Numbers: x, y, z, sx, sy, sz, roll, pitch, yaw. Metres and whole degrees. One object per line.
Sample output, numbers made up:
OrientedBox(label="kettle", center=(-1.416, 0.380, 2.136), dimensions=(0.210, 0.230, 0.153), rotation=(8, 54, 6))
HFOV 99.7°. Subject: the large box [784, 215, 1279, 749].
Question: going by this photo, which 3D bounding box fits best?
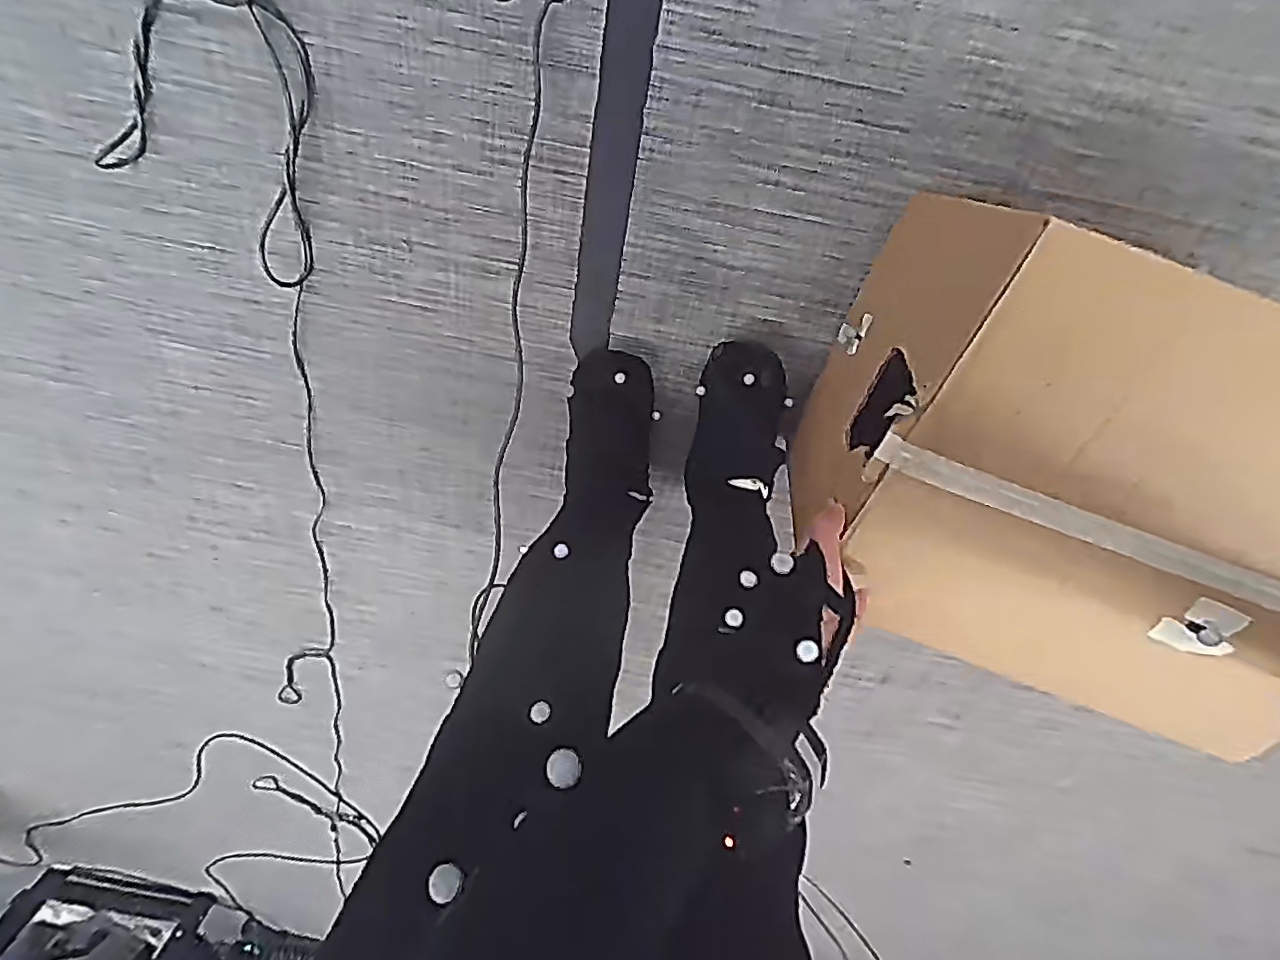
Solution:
OrientedBox(label="large box", center=(0.392, -0.024, 0.515), dimensions=(0.408, 0.320, 0.320), rotation=(19, 123, -1))
